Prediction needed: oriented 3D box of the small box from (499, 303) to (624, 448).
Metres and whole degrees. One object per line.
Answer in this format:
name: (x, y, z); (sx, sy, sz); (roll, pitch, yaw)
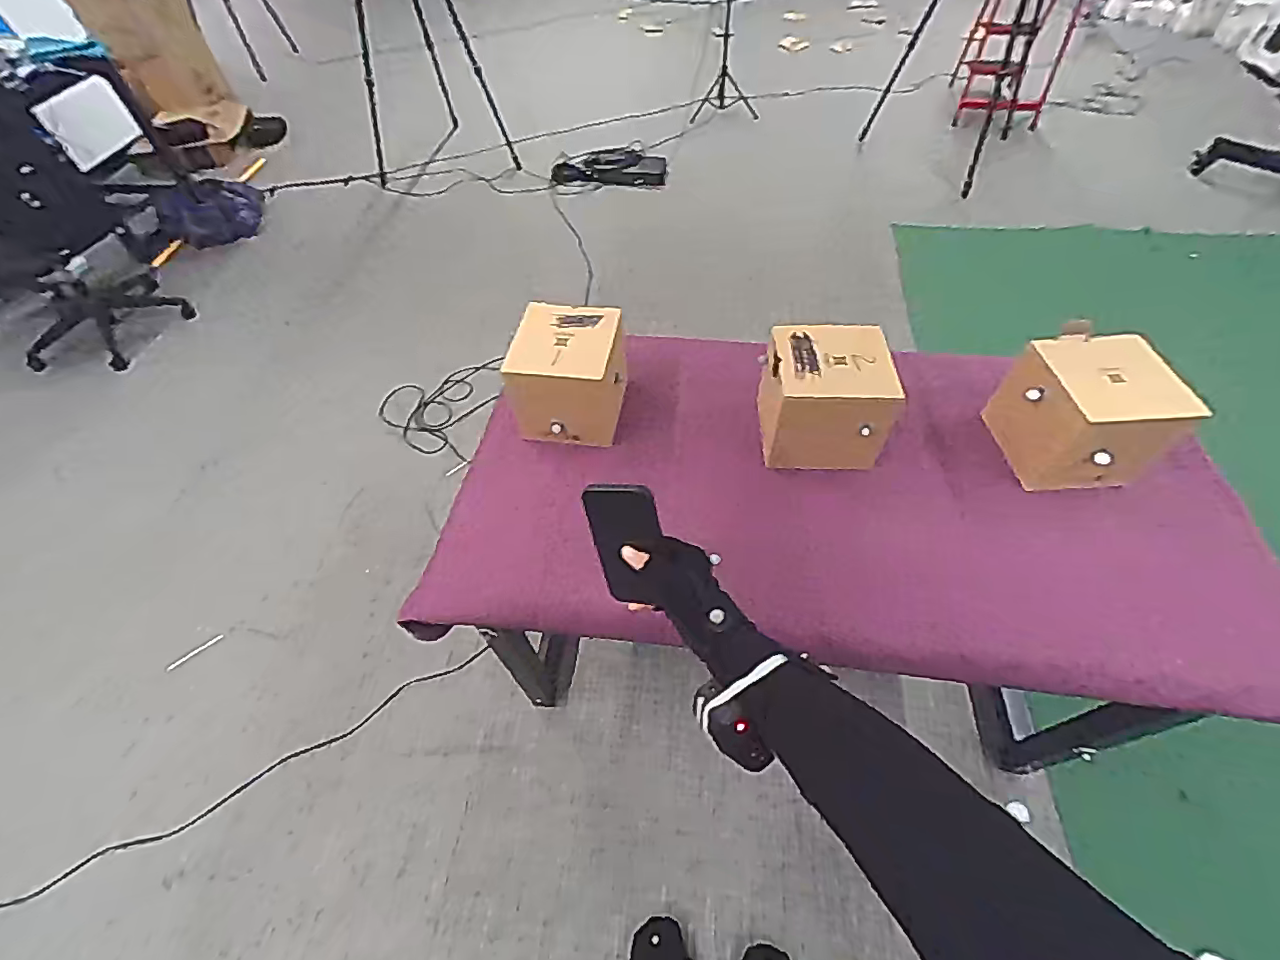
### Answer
small box: (-0.123, -0.180, 0.938); (0.168, 0.176, 0.179); (6, 55, 7)

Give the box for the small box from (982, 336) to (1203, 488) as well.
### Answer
small box: (0.681, -0.098, 0.844); (0.168, 0.176, 0.179); (-3, 53, 1)
